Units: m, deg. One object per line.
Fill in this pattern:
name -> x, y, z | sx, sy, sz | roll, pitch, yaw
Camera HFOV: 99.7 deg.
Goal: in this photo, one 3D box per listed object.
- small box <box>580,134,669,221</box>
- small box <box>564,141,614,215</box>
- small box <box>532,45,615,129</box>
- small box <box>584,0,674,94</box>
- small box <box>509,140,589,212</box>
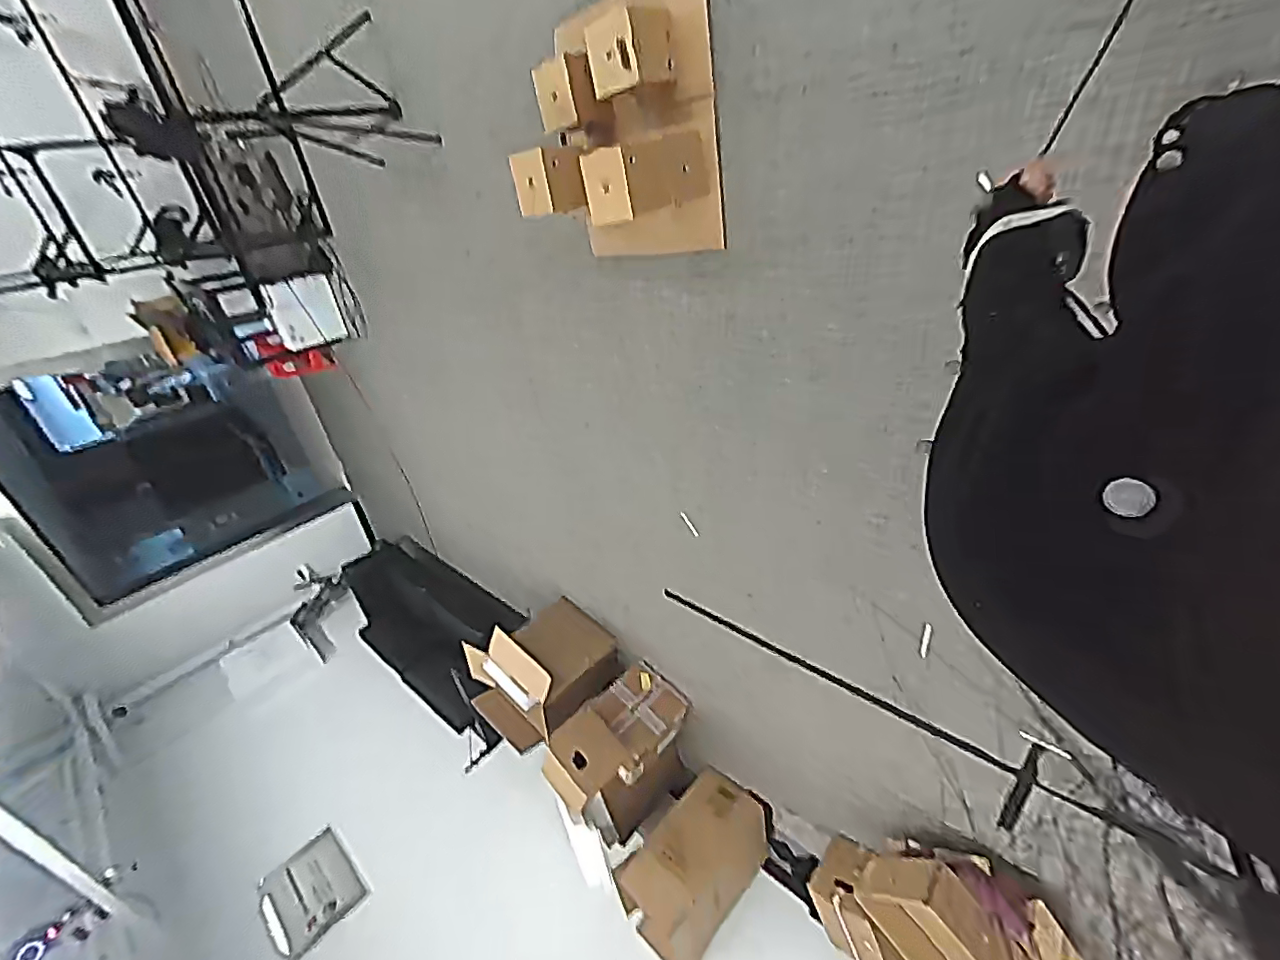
small box -> -0.036, -0.835, 1.497 | 0.168, 0.176, 0.179 | 15, 128, 41
small box -> -0.159, -0.998, 1.786 | 0.168, 0.176, 0.179 | 13, 127, 42
small box -> -0.201, -1.213, 1.675 | 0.168, 0.176, 0.179 | 14, 128, 43
small box -> -0.021, -1.188, 1.487 | 0.179, 0.176, 0.168 | 14, 127, 42
small box -> -0.272, -0.944, 1.677 | 0.168, 0.176, 0.179 | 18, 130, 41
